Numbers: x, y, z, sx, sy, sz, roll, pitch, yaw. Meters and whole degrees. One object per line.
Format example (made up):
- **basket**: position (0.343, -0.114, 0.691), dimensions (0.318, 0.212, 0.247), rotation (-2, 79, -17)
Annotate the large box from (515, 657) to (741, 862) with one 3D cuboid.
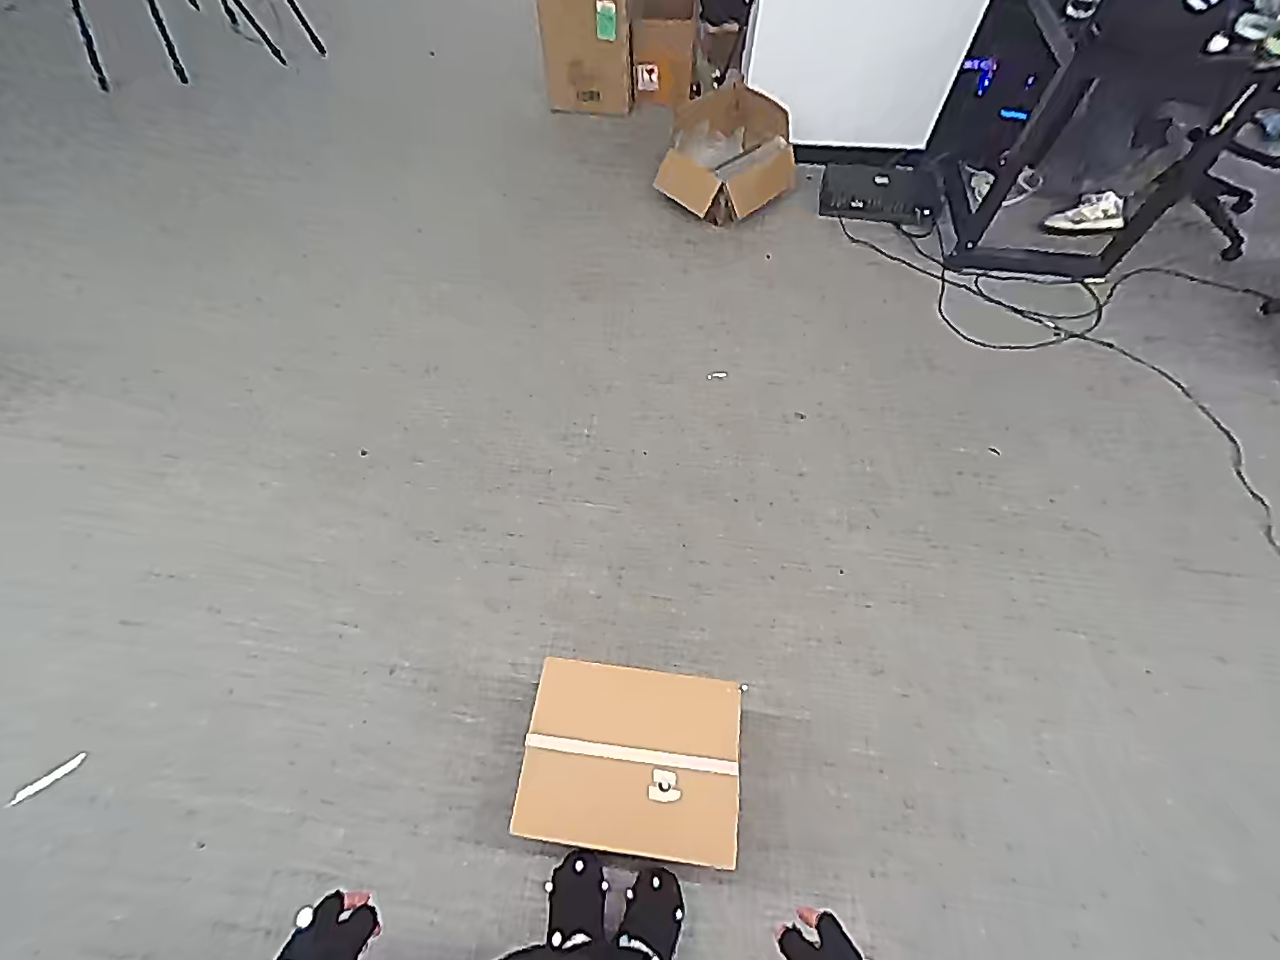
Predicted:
- **large box**: position (-0.014, 0.589, 1.152), dimensions (0.408, 0.320, 0.320), rotation (7, 61, 3)
